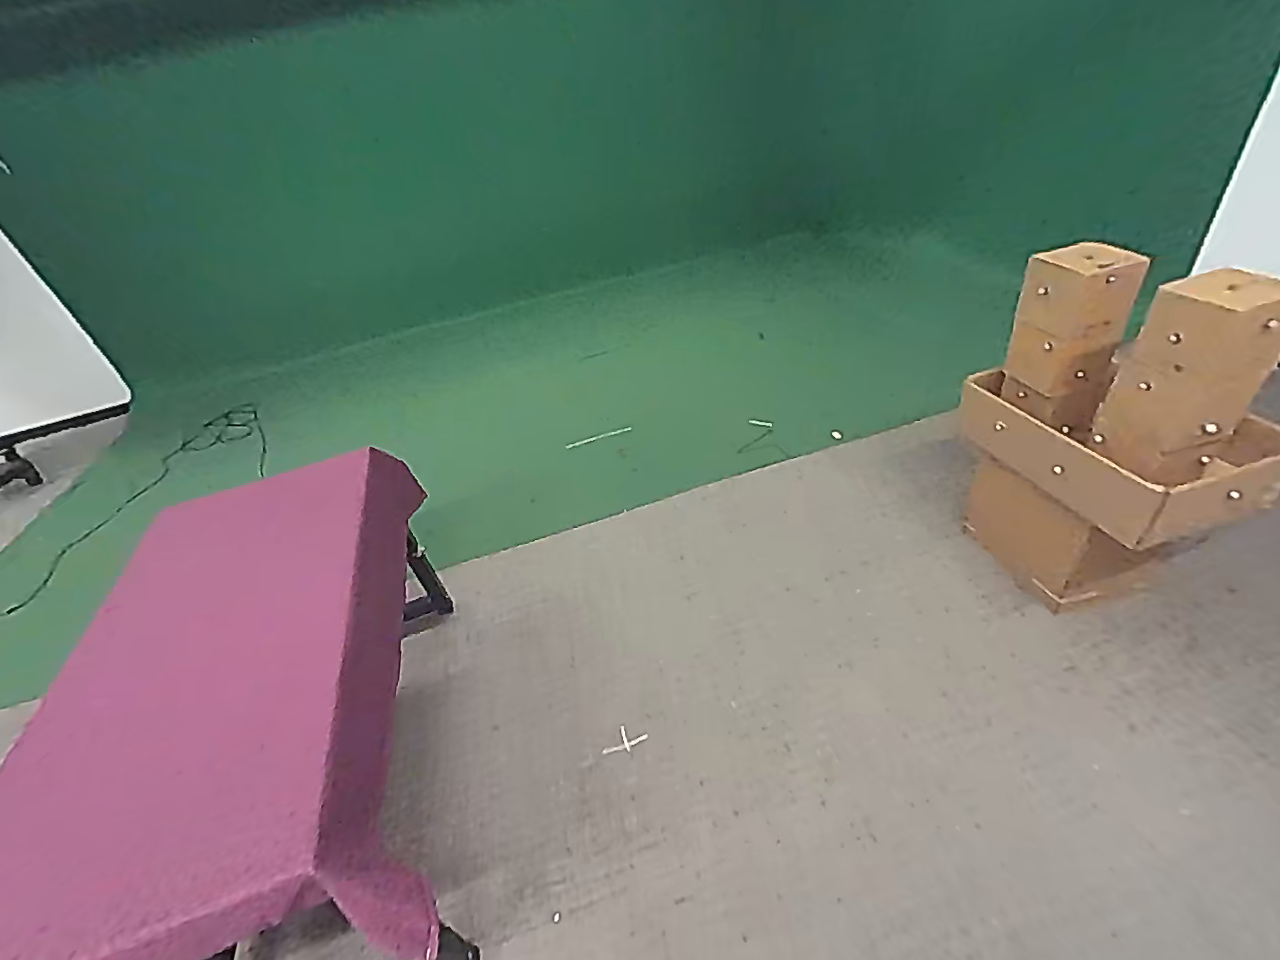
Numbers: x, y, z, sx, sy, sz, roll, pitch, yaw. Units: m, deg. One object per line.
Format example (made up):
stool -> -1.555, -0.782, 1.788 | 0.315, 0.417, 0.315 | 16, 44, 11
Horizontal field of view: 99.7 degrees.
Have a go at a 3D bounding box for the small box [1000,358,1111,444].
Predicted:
small box -> 1.191, -0.229, 1.567 | 0.168, 0.176, 0.179 | -16, 37, -3

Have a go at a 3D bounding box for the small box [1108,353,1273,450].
small box -> 1.228, -0.192, 1.228 | 0.168, 0.176, 0.179 | -15, 37, -3

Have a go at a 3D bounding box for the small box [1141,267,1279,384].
small box -> 1.205, -0.319, 1.124 | 0.179, 0.176, 0.168 | -16, 37, -4

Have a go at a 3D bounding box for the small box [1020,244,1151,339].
small box -> 1.112, -0.478, 1.370 | 0.168, 0.176, 0.179 | -16, 36, -2
